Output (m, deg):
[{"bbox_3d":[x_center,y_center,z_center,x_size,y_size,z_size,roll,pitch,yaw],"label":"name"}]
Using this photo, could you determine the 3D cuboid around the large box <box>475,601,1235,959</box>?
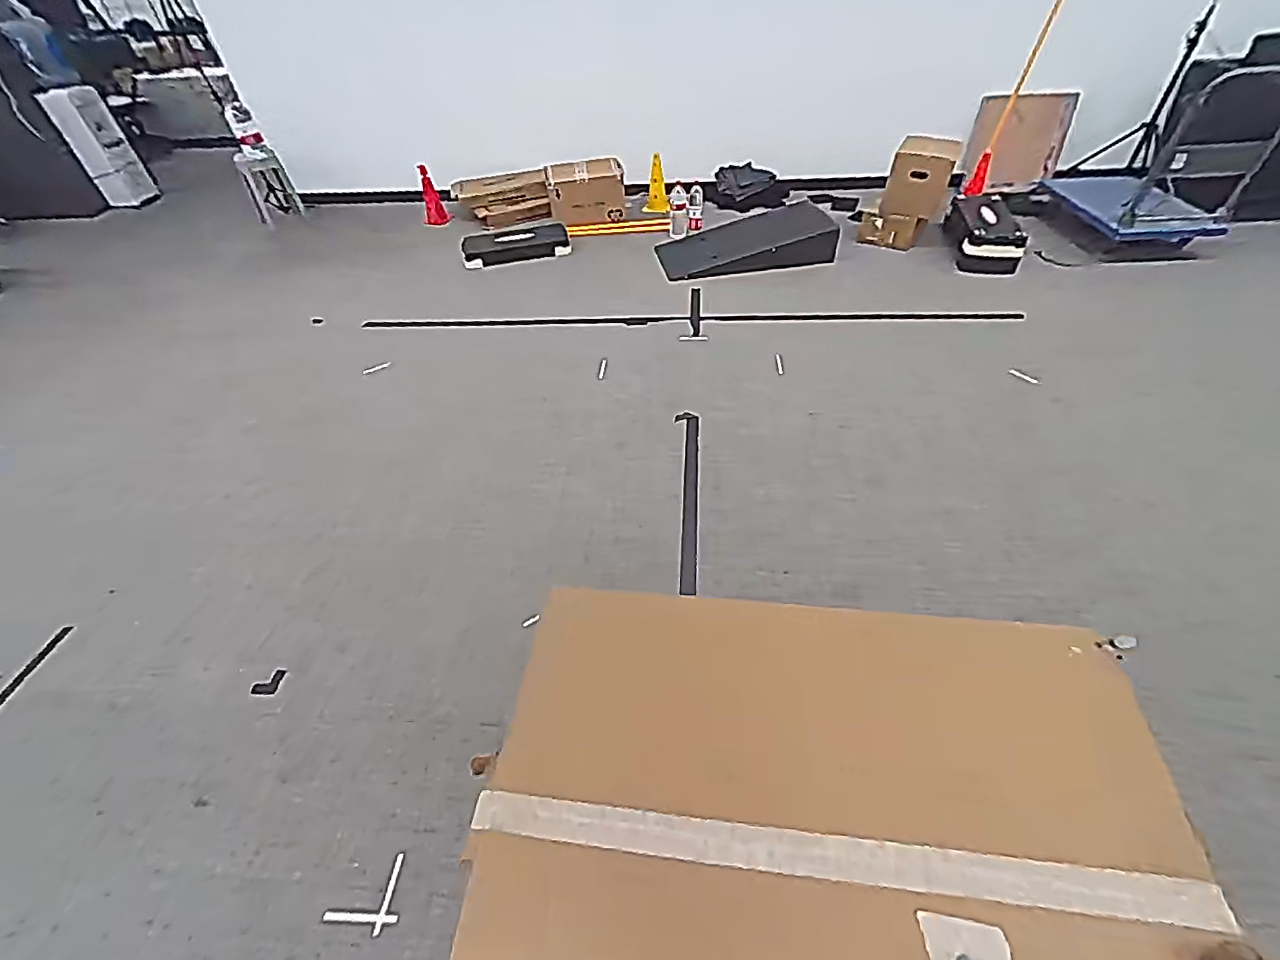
[{"bbox_3d":[0.119,0.317,0.430,0.408,0.320,0.320,3,51,7],"label":"large box"}]
